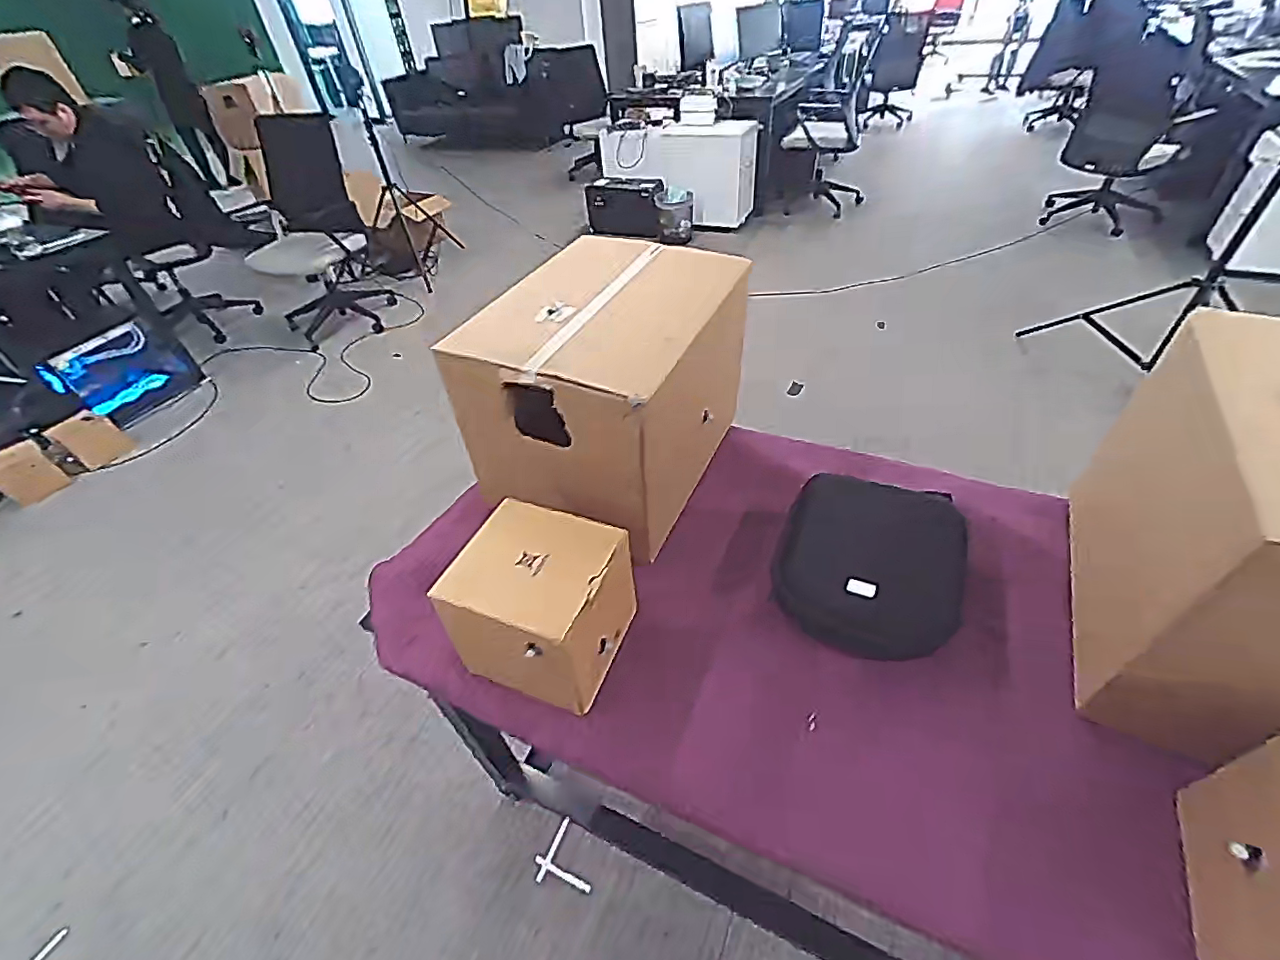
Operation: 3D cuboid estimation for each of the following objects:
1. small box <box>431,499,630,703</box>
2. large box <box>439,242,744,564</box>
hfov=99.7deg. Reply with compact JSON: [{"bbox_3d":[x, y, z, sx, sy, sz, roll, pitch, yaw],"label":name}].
[{"bbox_3d":[-0.123,0.153,0.686,0.179,0.176,0.168,13,45,17],"label":"small box"},{"bbox_3d":[-0.043,-0.143,0.890,0.320,0.320,0.408,16,49,19],"label":"large box"}]
